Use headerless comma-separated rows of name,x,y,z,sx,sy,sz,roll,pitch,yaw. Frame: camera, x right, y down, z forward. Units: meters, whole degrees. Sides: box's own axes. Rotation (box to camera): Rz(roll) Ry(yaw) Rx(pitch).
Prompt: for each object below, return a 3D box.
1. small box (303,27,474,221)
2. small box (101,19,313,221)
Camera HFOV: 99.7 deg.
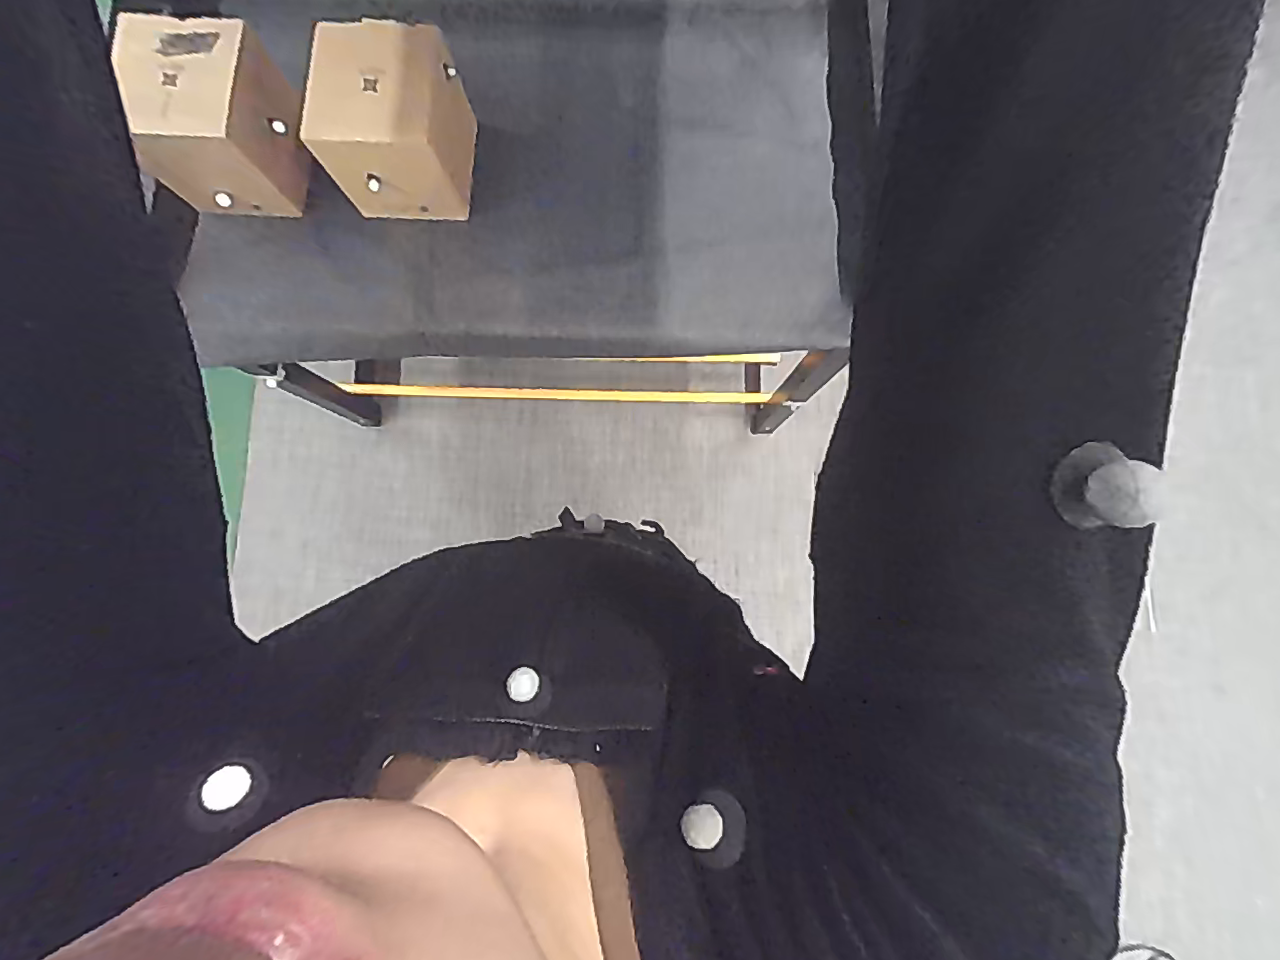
small box,-0.350,-0.501,0.783,0.168,0.176,0.179,2,82,0
small box,-0.603,-0.507,0.780,0.168,0.176,0.179,2,82,0
